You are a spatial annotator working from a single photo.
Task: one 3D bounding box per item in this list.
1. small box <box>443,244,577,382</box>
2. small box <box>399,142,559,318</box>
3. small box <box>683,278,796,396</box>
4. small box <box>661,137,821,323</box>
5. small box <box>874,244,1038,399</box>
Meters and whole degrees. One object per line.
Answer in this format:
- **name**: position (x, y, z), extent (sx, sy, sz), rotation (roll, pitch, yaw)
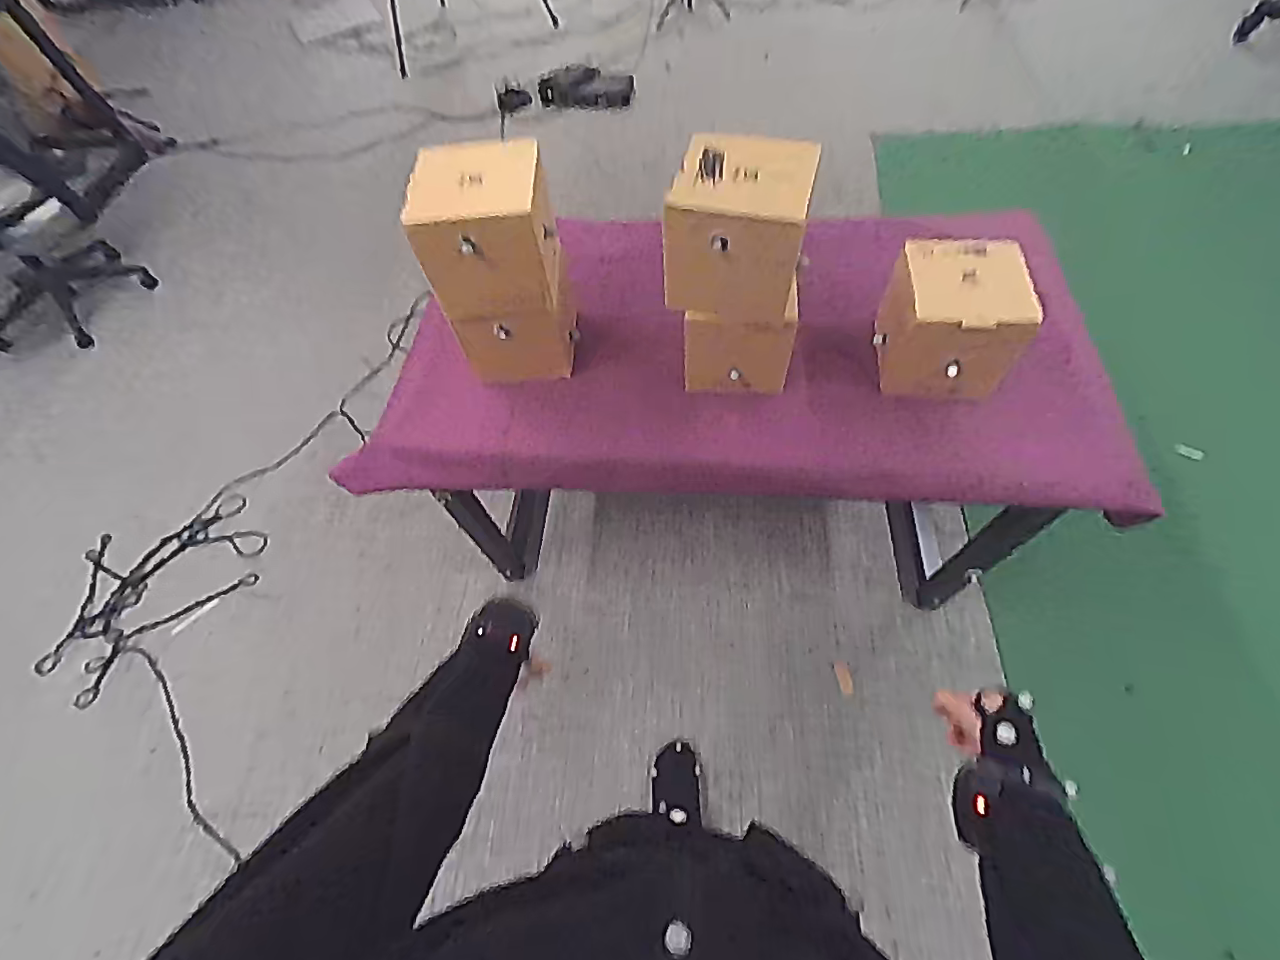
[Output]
- **small box**: position (-0.215, -0.285, 0.943), extent (0.179, 0.176, 0.168), rotation (-2, 60, 3)
- **small box**: position (-0.222, -0.362, 0.801), extent (0.179, 0.176, 0.168), rotation (-4, 61, 3)
- **small box**: position (0.160, -0.262, 0.896), extent (0.168, 0.176, 0.179), rotation (3, 60, 7)
- **small box**: position (0.136, -0.343, 0.754), extent (0.179, 0.176, 0.168), rotation (13, 62, 12)
- **small box**: position (0.483, -0.246, 0.858), extent (0.168, 0.176, 0.179), rotation (5, 60, 8)
